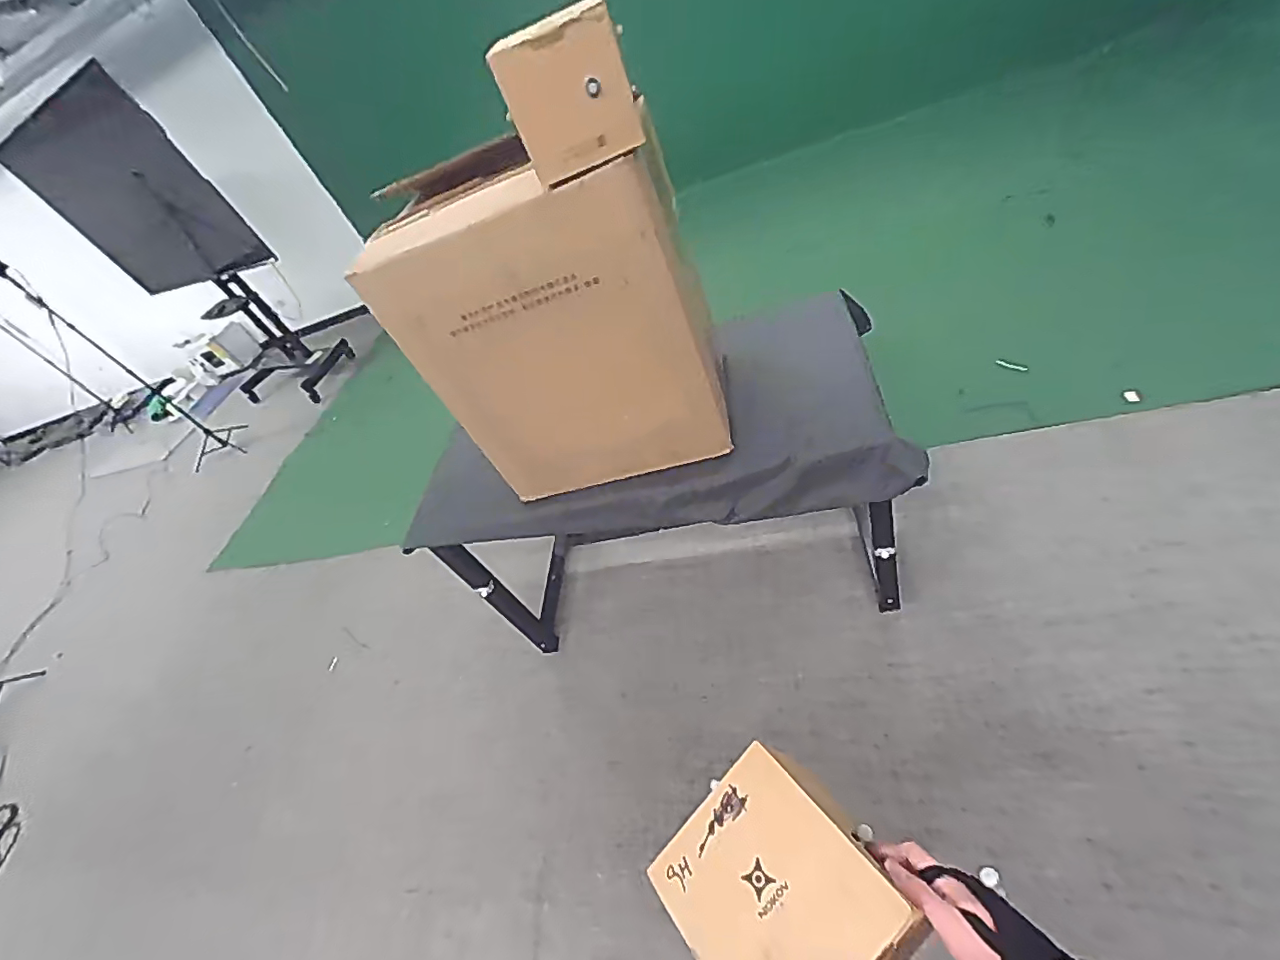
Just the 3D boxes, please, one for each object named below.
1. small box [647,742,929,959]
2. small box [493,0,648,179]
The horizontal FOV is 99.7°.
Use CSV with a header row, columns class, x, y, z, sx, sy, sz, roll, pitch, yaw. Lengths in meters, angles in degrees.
class,x,y,z,sx,sy,sz,roll,pitch,yaw
small box,0.146,0.390,0.518,0.168,0.176,0.179,-48,44,-5
small box,-0.093,-0.570,0.793,0.168,0.176,0.179,-16,43,10
